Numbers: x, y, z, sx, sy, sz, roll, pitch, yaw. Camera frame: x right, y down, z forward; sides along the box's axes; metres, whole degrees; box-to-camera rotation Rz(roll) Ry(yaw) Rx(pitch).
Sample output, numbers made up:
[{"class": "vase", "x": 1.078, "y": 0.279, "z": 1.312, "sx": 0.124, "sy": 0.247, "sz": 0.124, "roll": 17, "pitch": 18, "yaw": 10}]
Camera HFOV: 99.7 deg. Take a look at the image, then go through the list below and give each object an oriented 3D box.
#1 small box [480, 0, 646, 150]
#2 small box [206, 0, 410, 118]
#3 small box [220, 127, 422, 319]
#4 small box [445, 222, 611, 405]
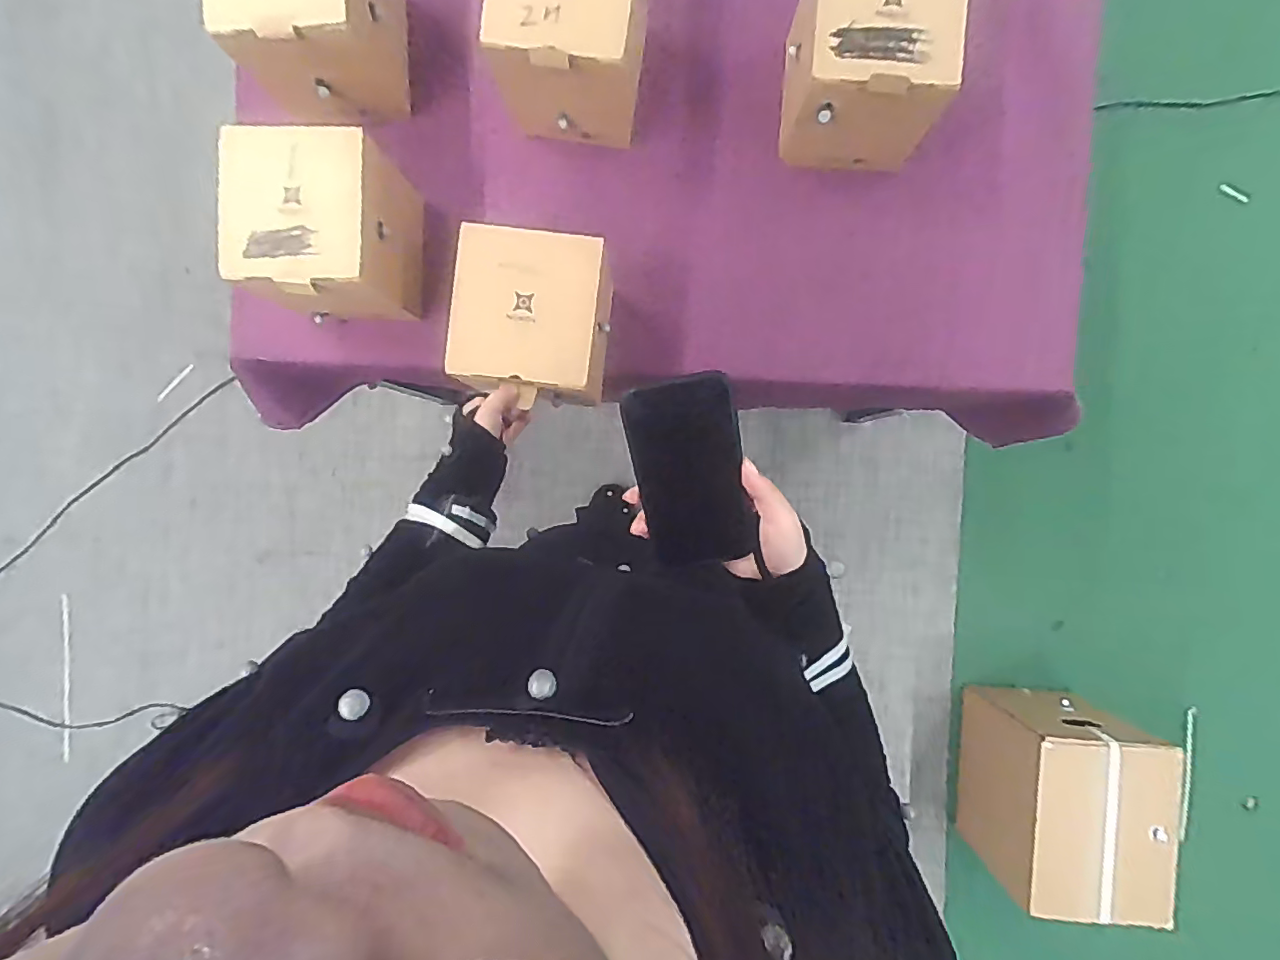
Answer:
[{"class": "small box", "x": -0.084, "y": -0.562, "z": 0.684, "sx": 0.168, "sy": 0.176, "sz": 0.179, "roll": 9, "pitch": 92, "yaw": 1}, {"class": "small box", "x": -0.410, "y": -0.594, "z": 0.690, "sx": 0.168, "sy": 0.176, "sz": 0.179, "roll": -2, "pitch": 92, "yaw": 1}, {"class": "small box", "x": -0.395, "y": -0.315, "z": 0.696, "sx": 0.168, "sy": 0.176, "sz": 0.179, "roll": 1, "pitch": 90, "yaw": 1}, {"class": "small box", "x": -0.131, "y": -0.198, "z": 0.694, "sx": 0.168, "sy": 0.176, "sz": 0.179, "roll": 8, "pitch": 90, "yaw": 0}]
